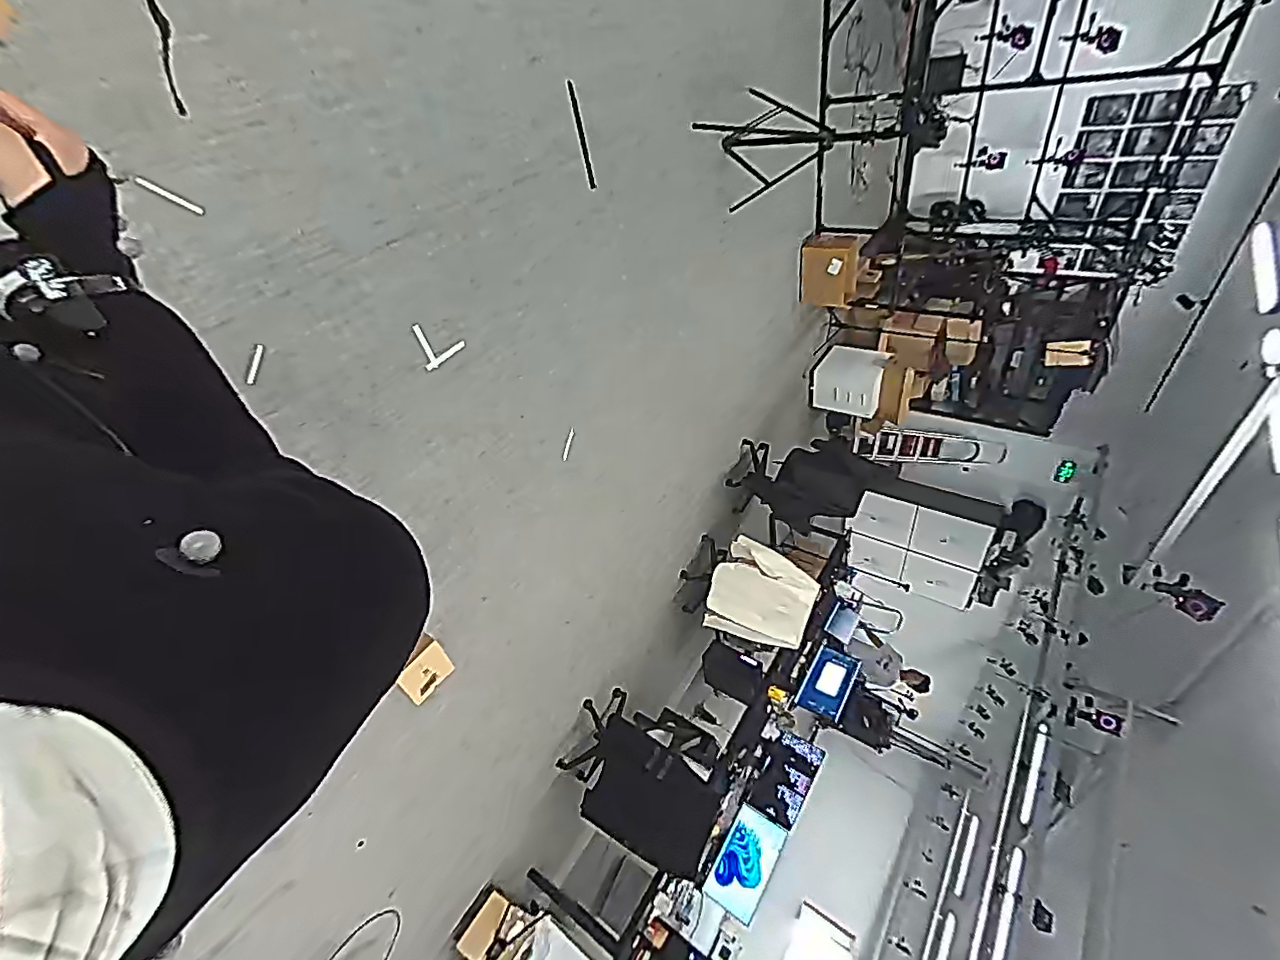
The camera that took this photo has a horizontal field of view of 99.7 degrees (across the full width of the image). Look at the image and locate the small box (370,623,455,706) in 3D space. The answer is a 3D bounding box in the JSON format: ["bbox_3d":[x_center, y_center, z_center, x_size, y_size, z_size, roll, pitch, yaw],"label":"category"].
[{"bbox_3d":[-0.764,0.613,1.818,0.168,0.176,0.179,-47,140,-35],"label":"small box"}]
